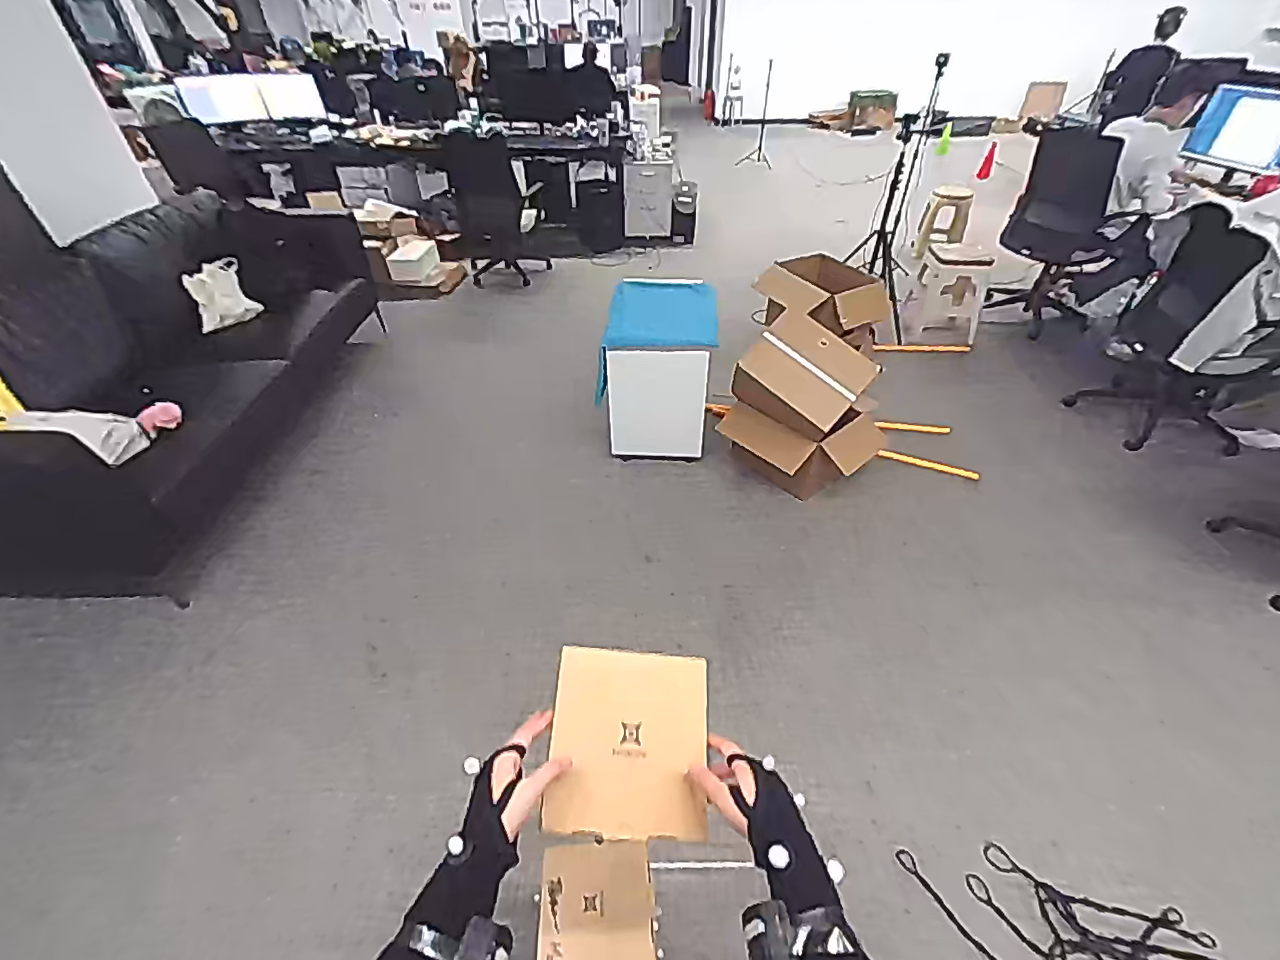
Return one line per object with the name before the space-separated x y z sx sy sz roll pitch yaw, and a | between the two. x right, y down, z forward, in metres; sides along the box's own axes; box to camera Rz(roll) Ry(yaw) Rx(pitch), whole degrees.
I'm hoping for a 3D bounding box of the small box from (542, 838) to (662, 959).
small box | -0.059 0.712 0.890 0.179 0.176 0.168 -3 41 -2
